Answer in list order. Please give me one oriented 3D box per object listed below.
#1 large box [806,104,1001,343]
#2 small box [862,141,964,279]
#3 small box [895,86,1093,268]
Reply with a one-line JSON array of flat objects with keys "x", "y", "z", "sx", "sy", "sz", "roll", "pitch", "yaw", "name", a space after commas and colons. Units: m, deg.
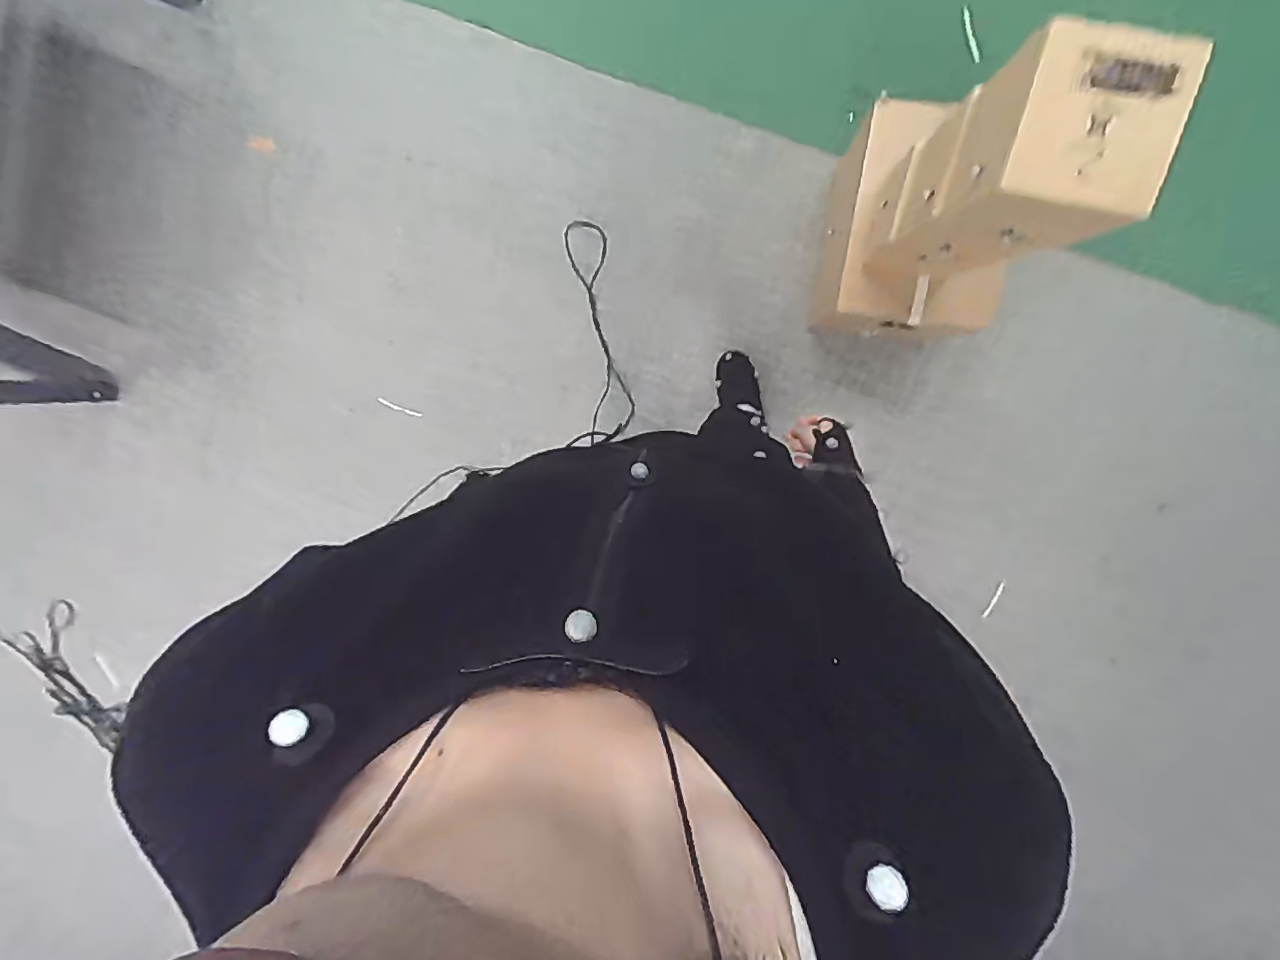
[{"x": 0.584, "y": -0.538, "z": 1.215, "sx": 0.320, "sy": 0.320, "sz": 0.408, "roll": 8, "pitch": 99, "yaw": 3, "name": "large box"}, {"x": 0.527, "y": -0.477, "z": 0.981, "sx": 0.179, "sy": 0.176, "sz": 0.168, "roll": 13, "pitch": 101, "yaw": 3, "name": "small box"}, {"x": 0.517, "y": -0.445, "z": 0.822, "sx": 0.168, "sy": 0.176, "sz": 0.179, "roll": 15, "pitch": 101, "yaw": 3, "name": "small box"}]
